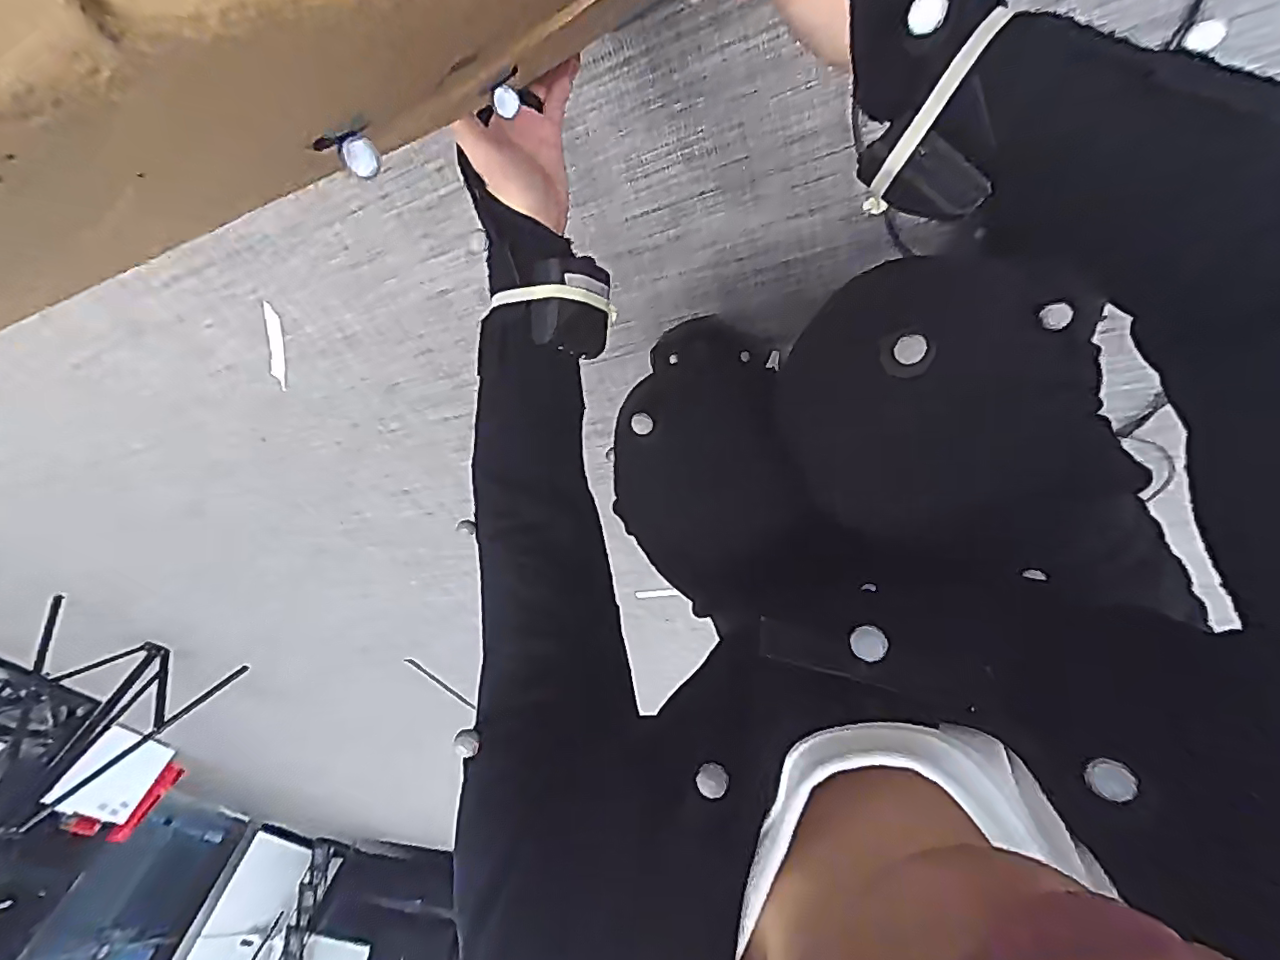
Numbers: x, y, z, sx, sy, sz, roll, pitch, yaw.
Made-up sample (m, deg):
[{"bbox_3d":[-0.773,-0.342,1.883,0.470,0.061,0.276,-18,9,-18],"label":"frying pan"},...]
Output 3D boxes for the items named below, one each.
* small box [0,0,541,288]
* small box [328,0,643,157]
[{"bbox_3d":[-0.130,-0.157,0.097,0.168,0.176,0.179,-7,131,33],"label":"small box"},{"bbox_3d":[-0.071,-0.263,0.205,0.179,0.176,0.168,-6,131,31],"label":"small box"}]
